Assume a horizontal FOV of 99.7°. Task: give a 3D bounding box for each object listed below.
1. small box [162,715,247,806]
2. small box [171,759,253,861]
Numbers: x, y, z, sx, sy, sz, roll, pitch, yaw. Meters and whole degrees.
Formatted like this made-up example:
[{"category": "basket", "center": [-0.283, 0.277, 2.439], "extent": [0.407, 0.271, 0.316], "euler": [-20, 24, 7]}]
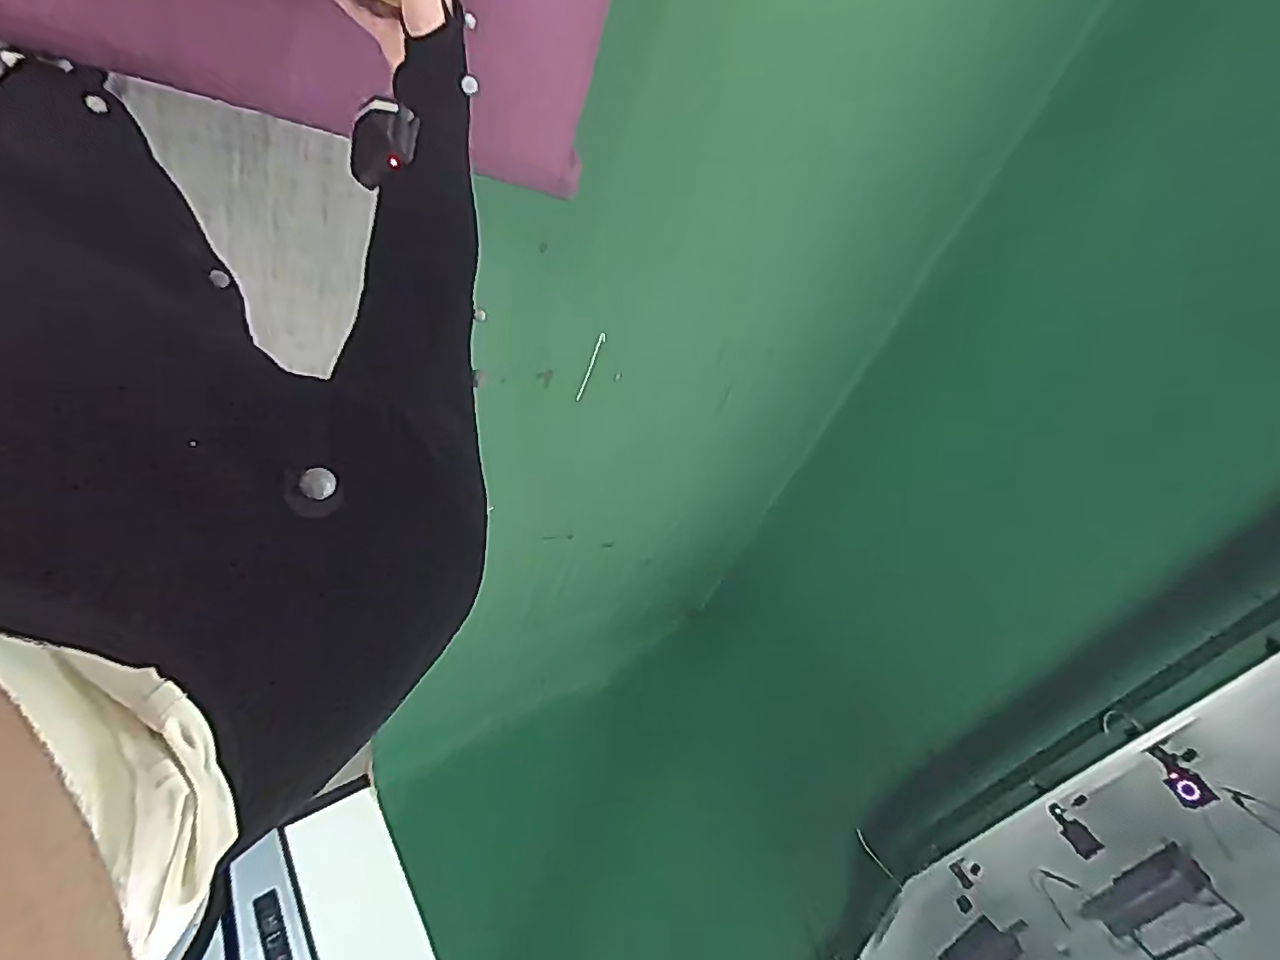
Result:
[{"category": "small box", "center": [-1.374, 0.873, 1.703], "extent": [0.179, 0.176, 0.168], "euler": [3, 127, -49]}, {"category": "small box", "center": [-1.283, 0.978, 1.616], "extent": [0.168, 0.176, 0.179], "euler": [0, 128, -48]}]
